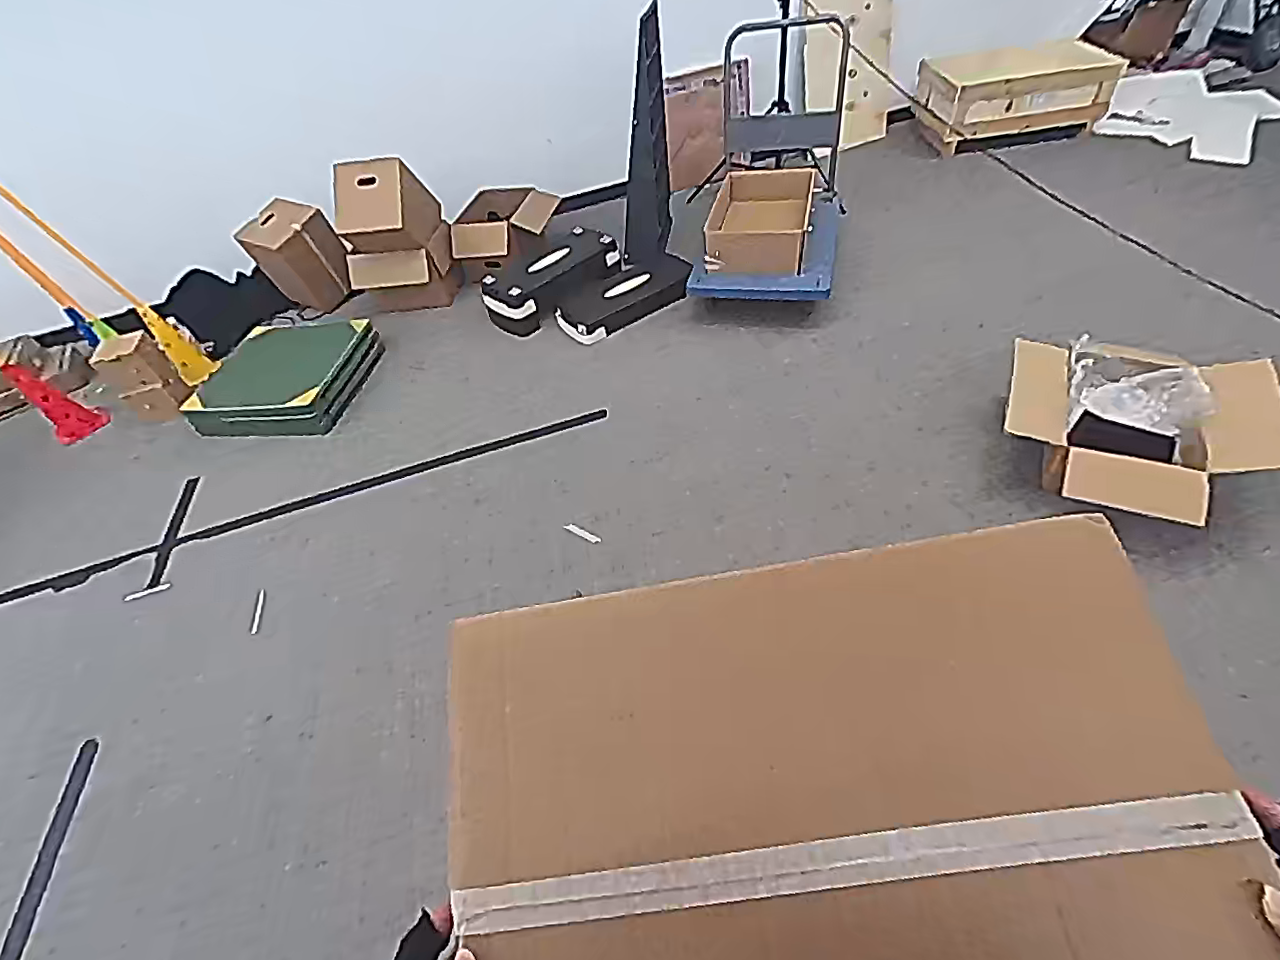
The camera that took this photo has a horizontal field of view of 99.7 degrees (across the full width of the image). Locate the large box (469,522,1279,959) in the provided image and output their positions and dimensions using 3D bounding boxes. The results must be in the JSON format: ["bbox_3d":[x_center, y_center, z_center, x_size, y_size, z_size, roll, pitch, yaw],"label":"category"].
[{"bbox_3d":[0.120,0.253,0.432,0.408,0.320,0.320,-10,70,5],"label":"large box"}]
